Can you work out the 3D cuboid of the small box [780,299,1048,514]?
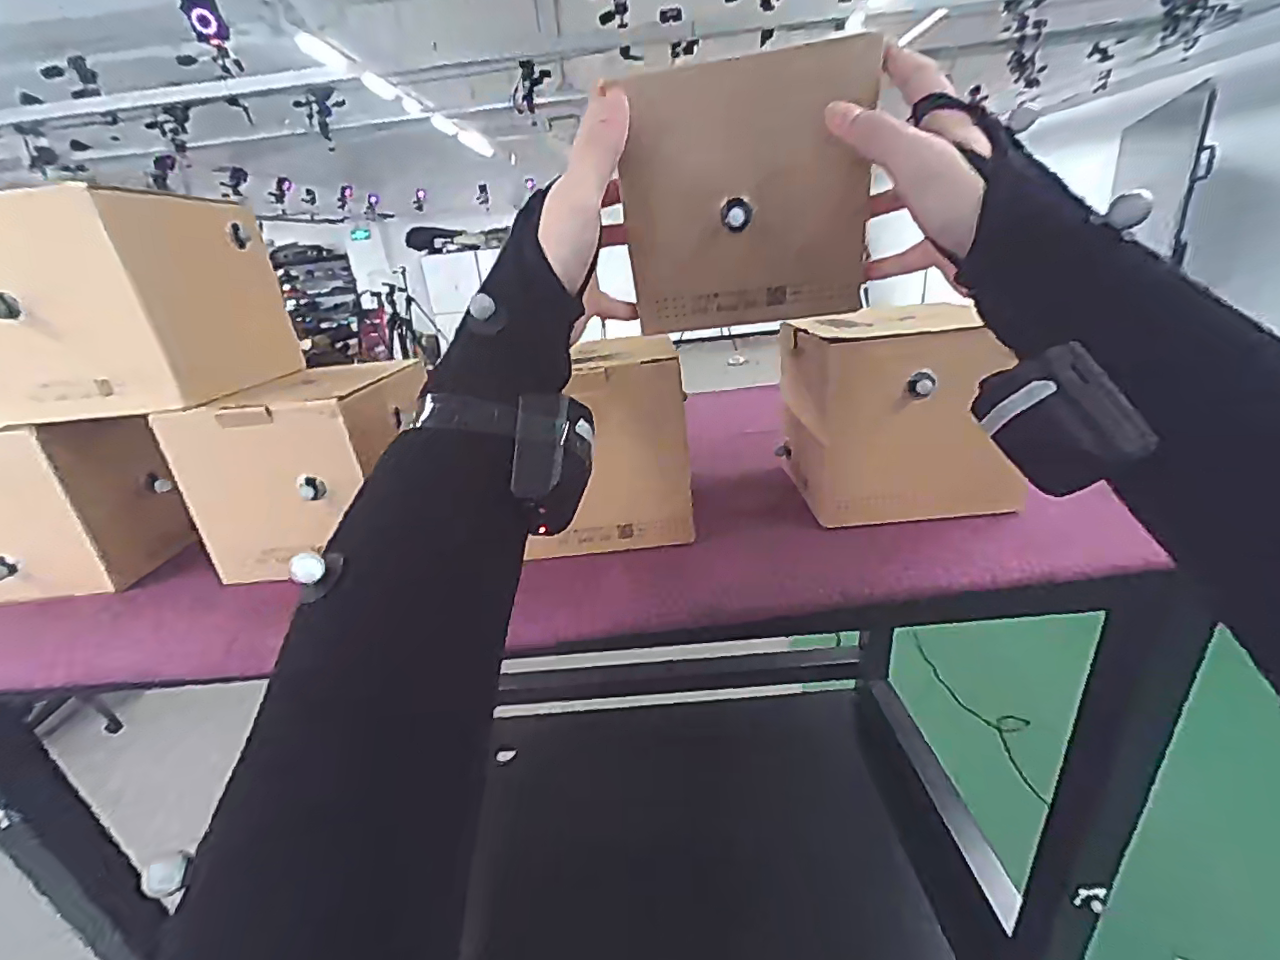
[{"bbox_3d":[0.240,-0.075,0.521,0.179,0.176,0.168,-5,22,2],"label":"small box"}]

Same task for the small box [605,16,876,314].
[{"bbox_3d":[0.077,-0.240,0.434,0.168,0.176,0.179,-3,35,8],"label":"small box"}]

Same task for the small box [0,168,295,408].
[{"bbox_3d":[-0.455,-0.164,0.487,0.168,0.176,0.179,-5,22,2],"label":"small box"}]

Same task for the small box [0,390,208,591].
[{"bbox_3d":[-0.582,0.000,0.546,0.179,0.176,0.168,-5,23,-1],"label":"small box"}]

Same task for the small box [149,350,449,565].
[{"bbox_3d":[-0.310,-0.024,0.541,0.168,0.176,0.179,-4,22,4],"label":"small box"}]
